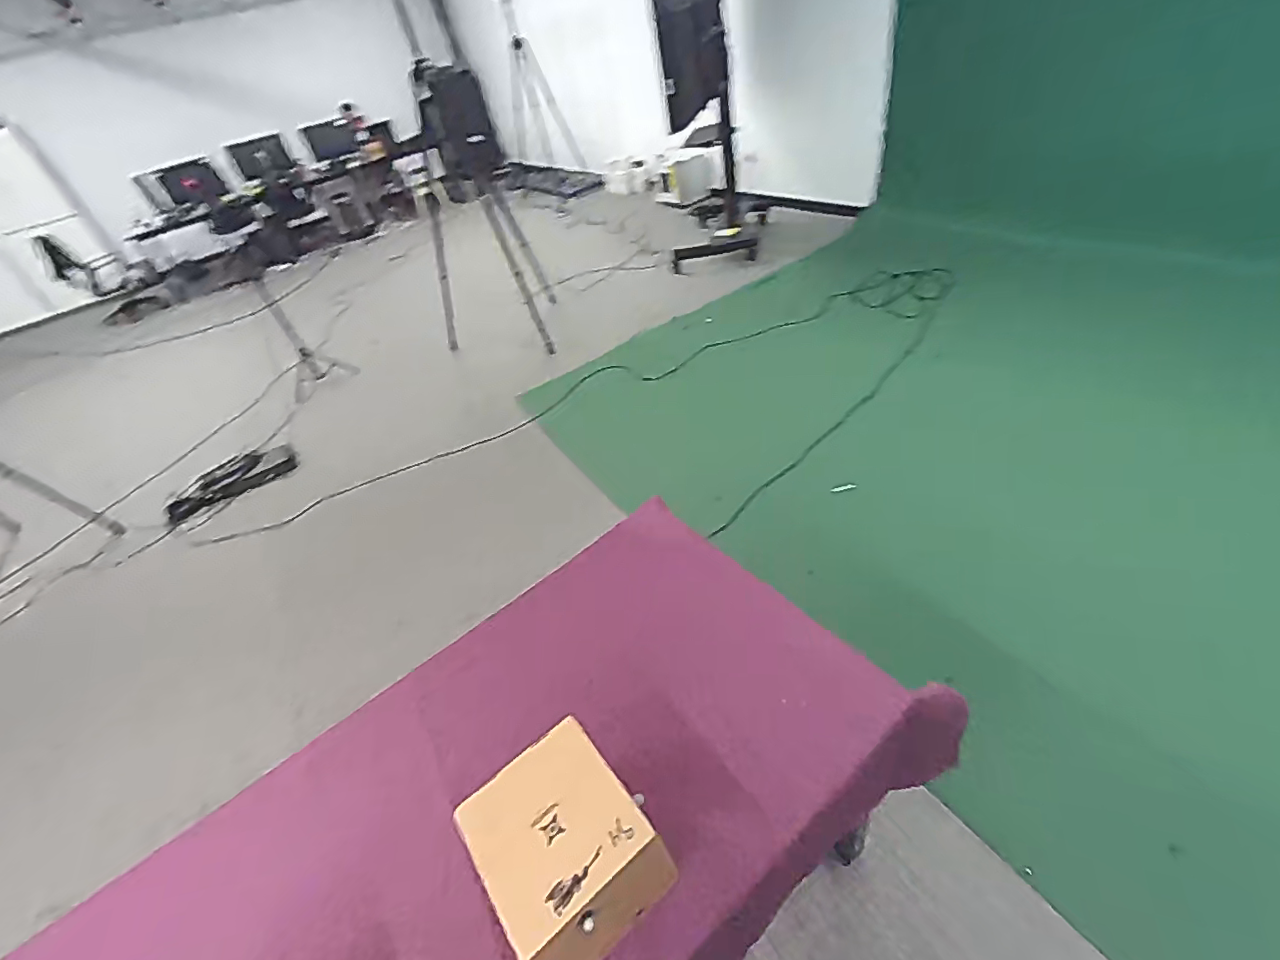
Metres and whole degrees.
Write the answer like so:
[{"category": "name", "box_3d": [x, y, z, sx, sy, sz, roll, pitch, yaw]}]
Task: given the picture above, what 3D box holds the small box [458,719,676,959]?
[{"category": "small box", "box_3d": [-0.081, 0.435, 0.641, 0.168, 0.176, 0.179, -35, 44, -20]}]
